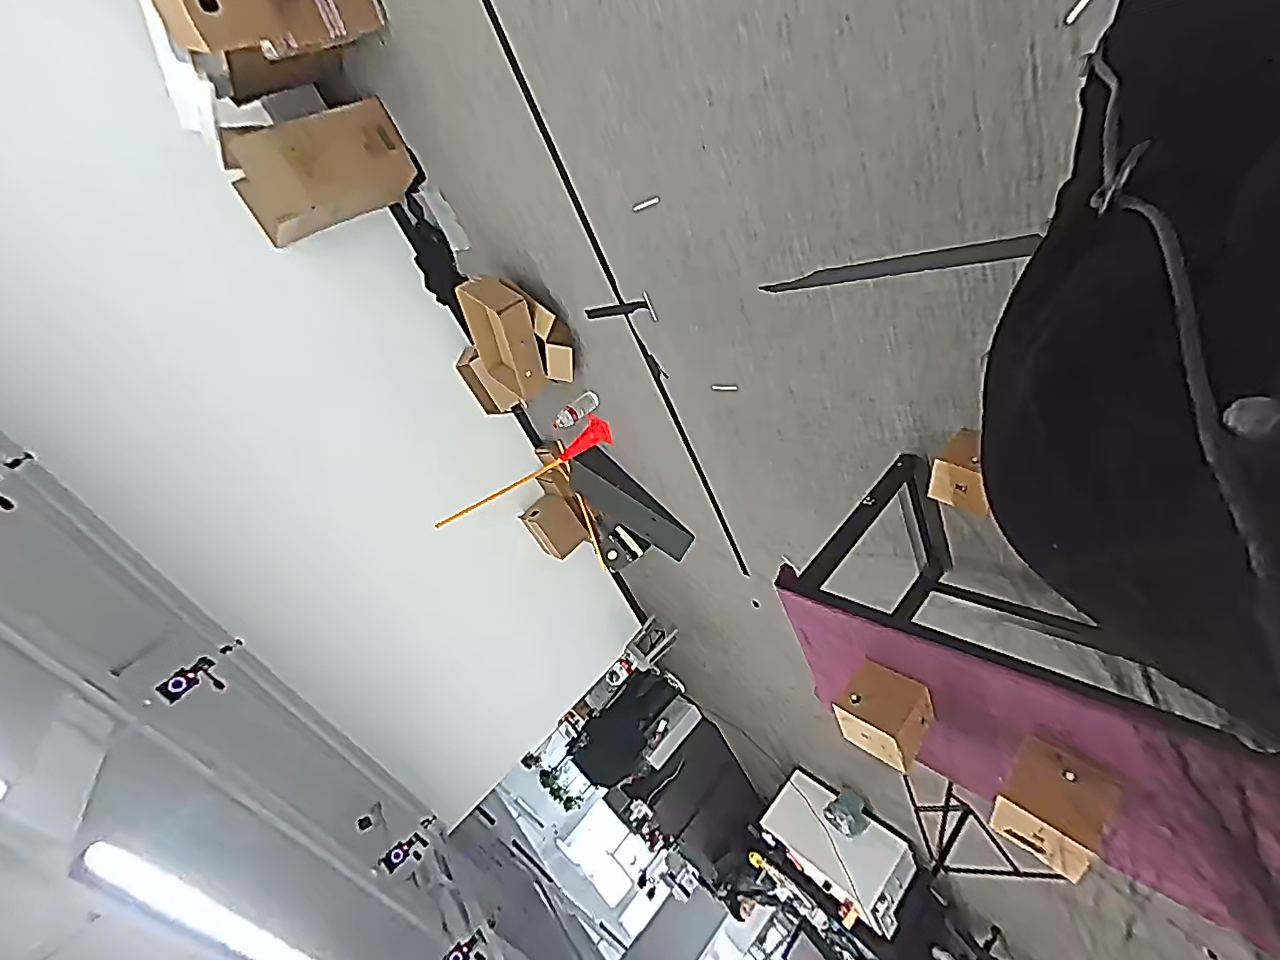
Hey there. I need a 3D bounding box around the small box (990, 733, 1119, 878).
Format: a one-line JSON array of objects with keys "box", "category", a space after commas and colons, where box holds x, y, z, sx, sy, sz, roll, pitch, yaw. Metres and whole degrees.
[{"box": [0.880, 0.687, 1.153, 0.168, 0.176, 0.179, 24, 145, 43], "category": "small box"}]

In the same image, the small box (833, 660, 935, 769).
[{"box": [0.647, 0.609, 1.430, 0.179, 0.176, 0.168, 15, 140, 50], "category": "small box"}]

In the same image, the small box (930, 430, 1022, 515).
[{"box": [1.022, -0.031, 1.651, 0.179, 0.176, 0.168, 27, 147, 38], "category": "small box"}]

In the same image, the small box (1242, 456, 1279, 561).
[{"box": [1.416, 0.066, 1.129, 0.179, 0.176, 0.168, 16, 139, 51], "category": "small box"}]
